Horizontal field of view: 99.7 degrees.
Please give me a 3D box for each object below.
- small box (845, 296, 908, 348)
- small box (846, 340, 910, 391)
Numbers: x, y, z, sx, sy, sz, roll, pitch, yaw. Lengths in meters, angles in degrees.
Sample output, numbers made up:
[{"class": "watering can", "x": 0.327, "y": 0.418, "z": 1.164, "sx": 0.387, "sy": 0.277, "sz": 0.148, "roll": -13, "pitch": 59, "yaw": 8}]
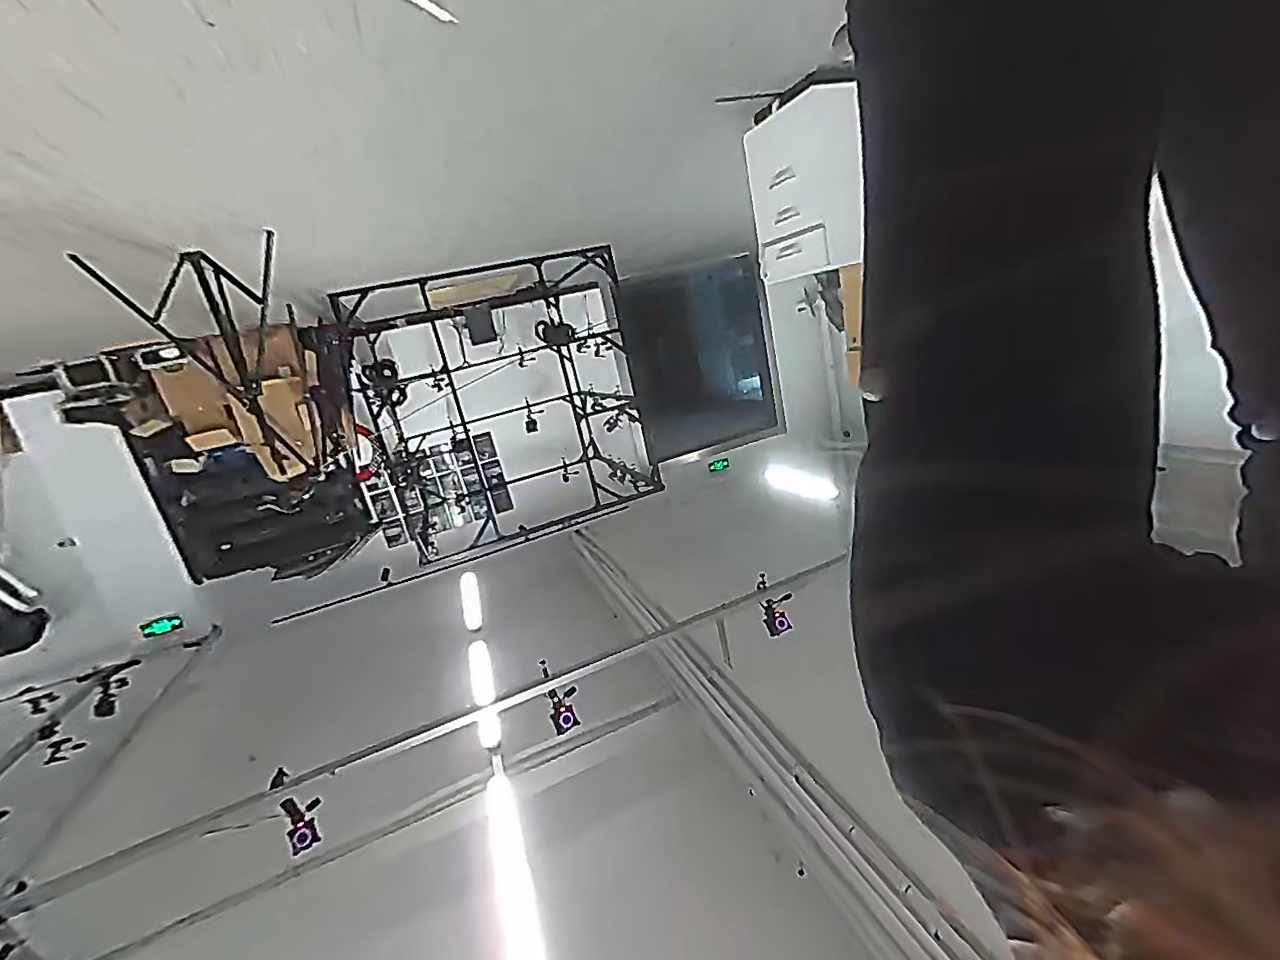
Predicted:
[{"class": "small box", "x": 0.932, "y": -0.624, "z": 2.139, "sx": 0.168, "sy": 0.176, "sz": 0.179, "roll": -20, "pitch": -162, "yaw": -21}, {"class": "small box", "x": 0.960, "y": -0.469, "z": 2.181, "sx": 0.179, "sy": 0.176, "sz": 0.168, "roll": -19, "pitch": -162, "yaw": -20}]
